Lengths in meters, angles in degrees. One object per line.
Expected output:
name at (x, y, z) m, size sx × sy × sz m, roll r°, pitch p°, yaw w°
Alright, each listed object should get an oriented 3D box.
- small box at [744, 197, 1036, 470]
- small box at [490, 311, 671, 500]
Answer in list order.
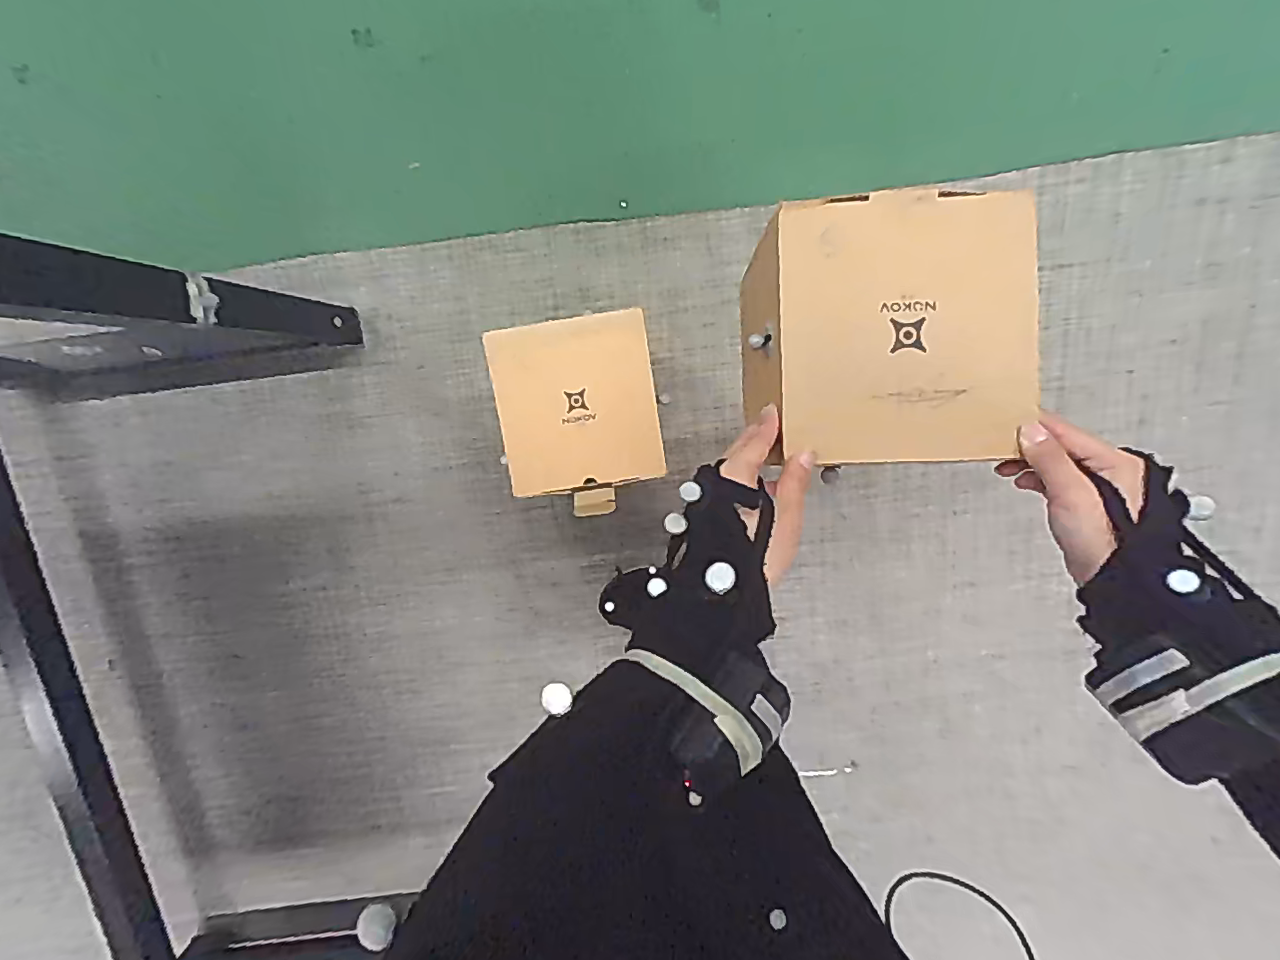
small box at (0.179, -0.098, 0.438) m, size 0.168 × 0.176 × 0.179 m, roll -2°, pitch 91°, yaw 3°
small box at (-0.061, -0.086, 0.635) m, size 0.168 × 0.176 × 0.179 m, roll -9°, pitch 100°, yaw 2°
